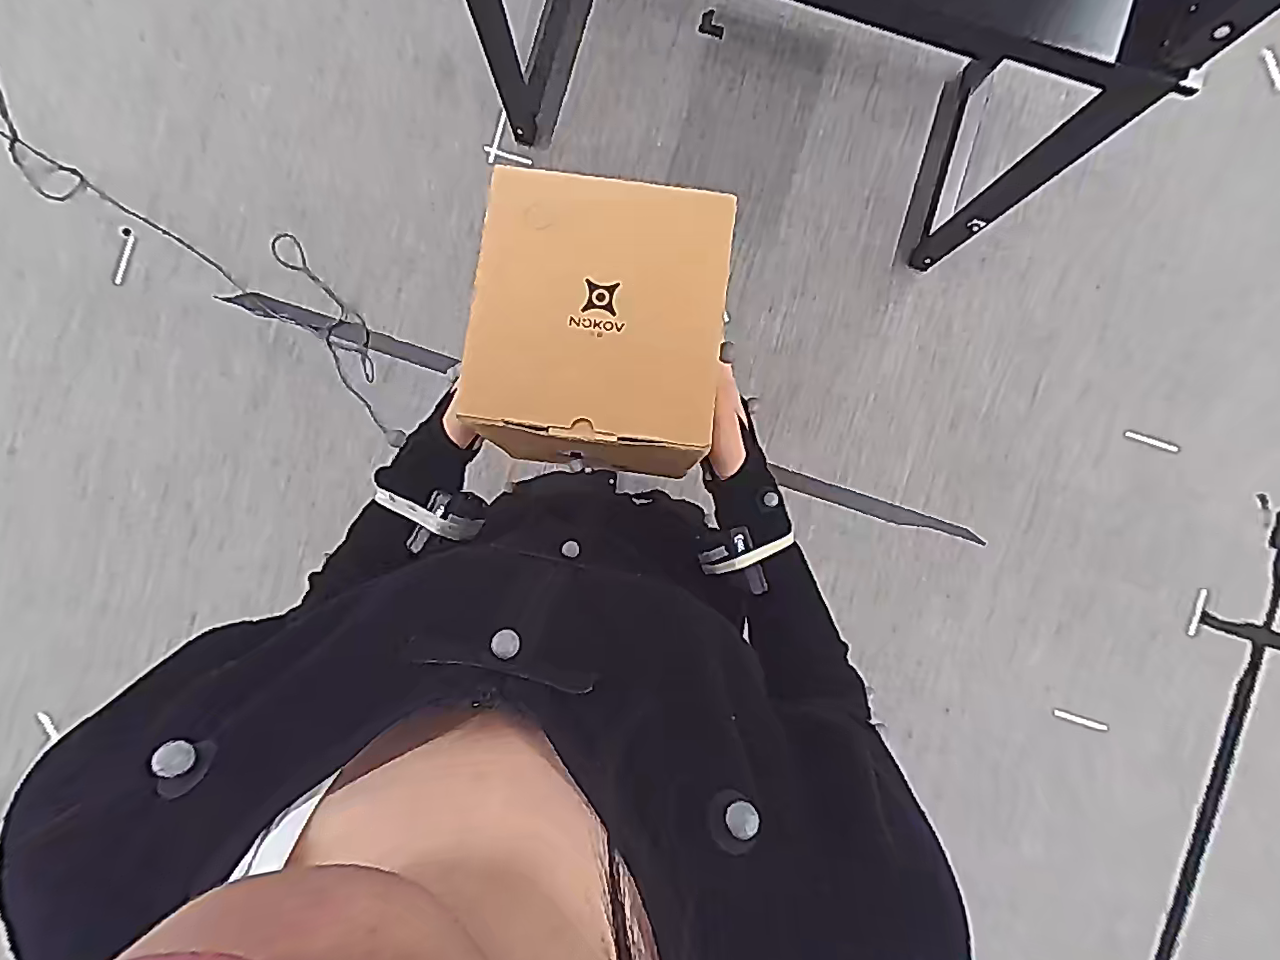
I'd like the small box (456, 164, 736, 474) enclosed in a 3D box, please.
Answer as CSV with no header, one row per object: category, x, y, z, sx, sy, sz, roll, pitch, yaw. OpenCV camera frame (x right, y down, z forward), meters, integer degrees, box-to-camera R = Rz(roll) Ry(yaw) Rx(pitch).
small box,-0.029,-0.108,0.432,0.168,0.176,0.179,7,85,-1
